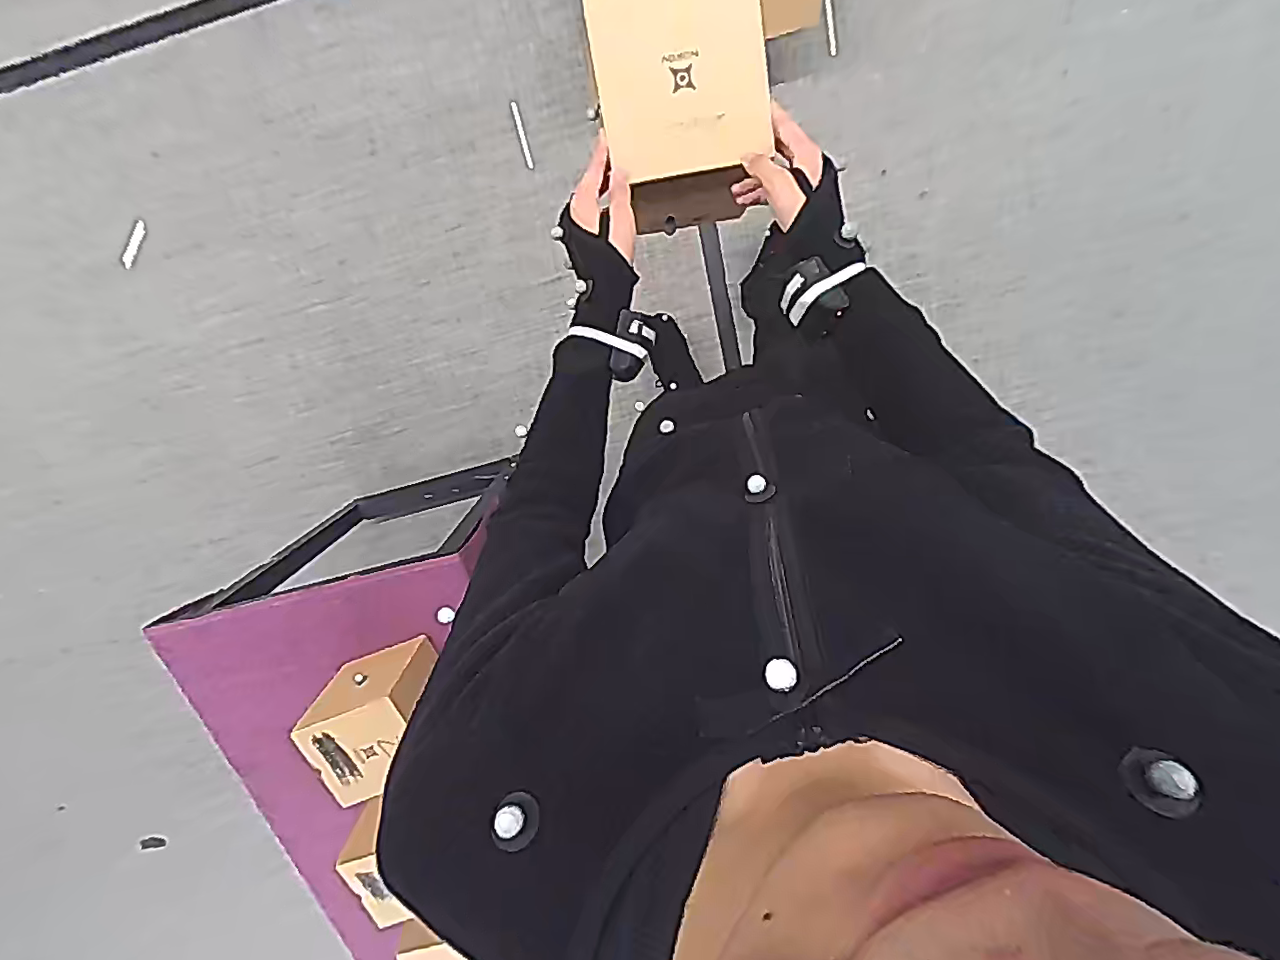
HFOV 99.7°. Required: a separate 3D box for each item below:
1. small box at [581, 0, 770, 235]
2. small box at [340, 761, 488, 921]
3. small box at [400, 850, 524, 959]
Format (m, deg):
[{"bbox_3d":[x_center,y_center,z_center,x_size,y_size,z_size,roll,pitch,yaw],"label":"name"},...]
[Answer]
[{"bbox_3d":[0.033,-0.404,0.607,0.168,0.176,0.179,-10,96,0],"label":"small box"},{"bbox_3d":[-0.417,0.679,1.031,0.179,0.176,0.168,-20,107,5],"label":"small box"},{"bbox_3d":[-0.347,0.899,1.103,0.179,0.176,0.168,-16,107,4],"label":"small box"}]
